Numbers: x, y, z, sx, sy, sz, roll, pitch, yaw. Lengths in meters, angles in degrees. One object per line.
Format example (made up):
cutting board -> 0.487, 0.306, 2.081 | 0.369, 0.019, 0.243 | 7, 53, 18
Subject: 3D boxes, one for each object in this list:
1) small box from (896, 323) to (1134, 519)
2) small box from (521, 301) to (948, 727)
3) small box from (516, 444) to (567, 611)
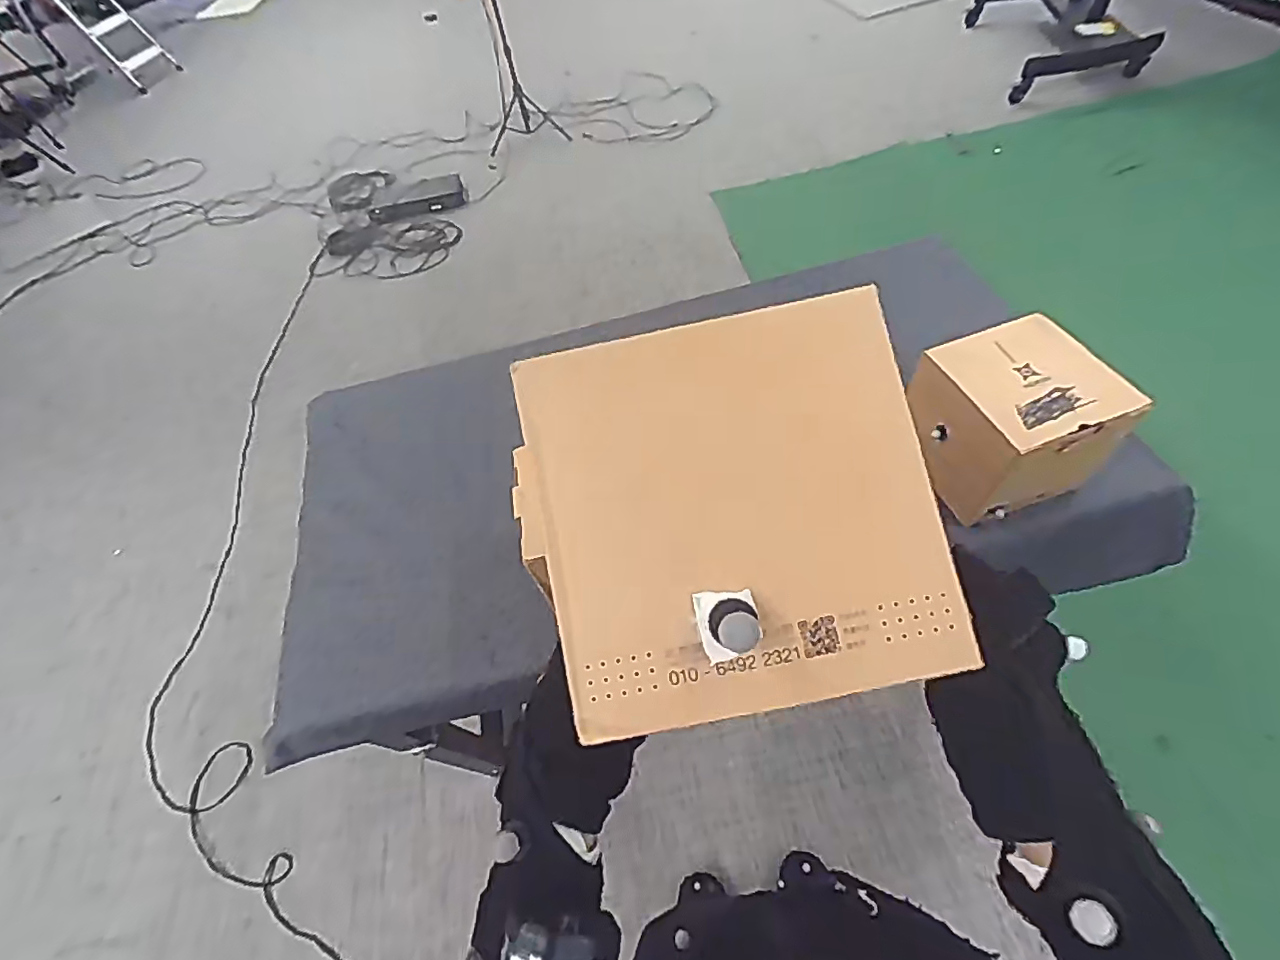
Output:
small box -> 0.463, -0.068, 0.711 | 0.168, 0.176, 0.179 | -18, 54, -4
small box -> 0.042, 0.024, 0.320 | 0.168, 0.179, 0.176 | -13, 83, -1
small box -> -0.048, 0.052, 0.701 | 0.179, 0.176, 0.168 | -13, 54, -1
